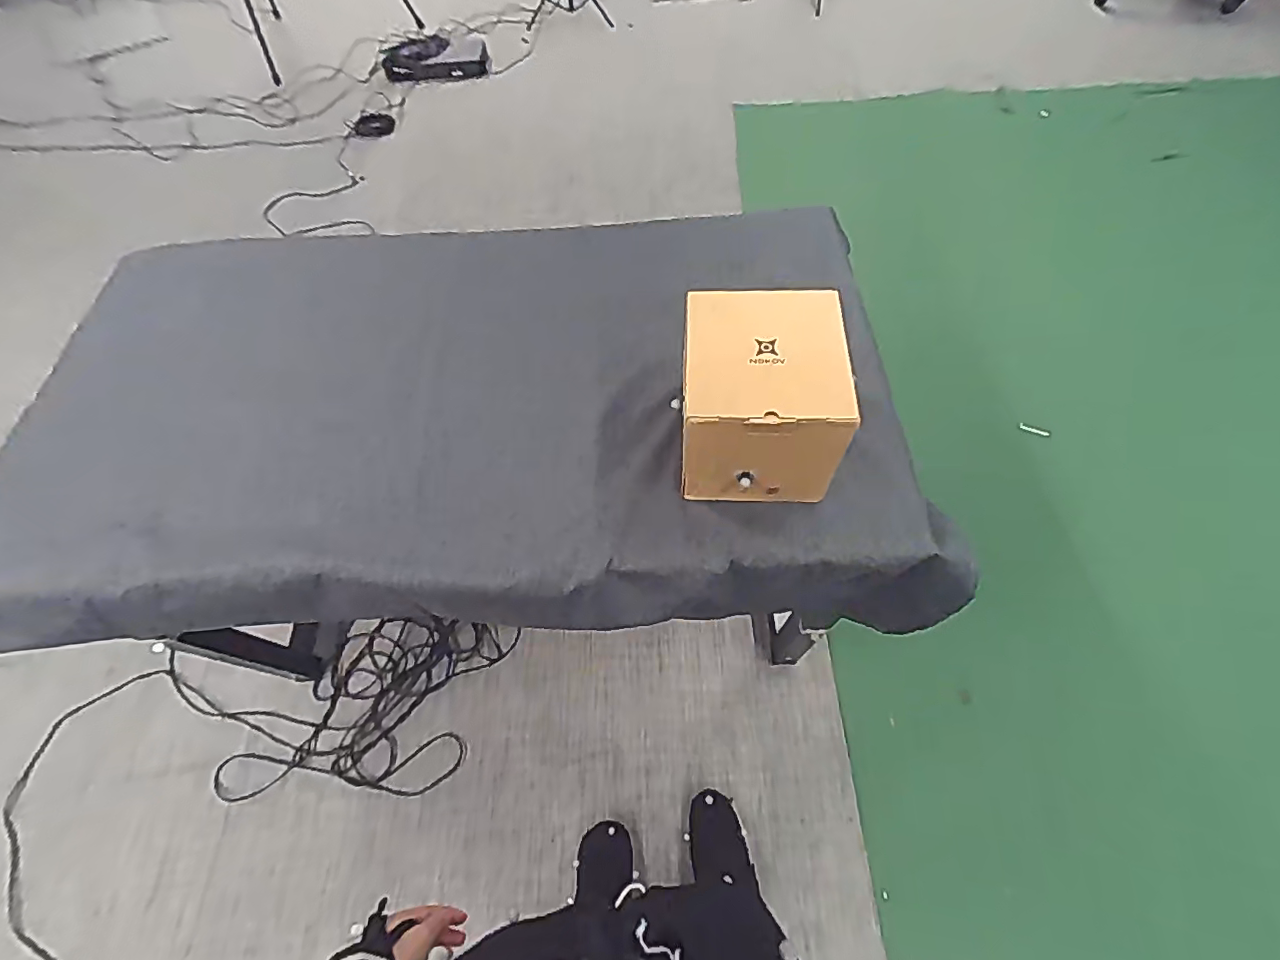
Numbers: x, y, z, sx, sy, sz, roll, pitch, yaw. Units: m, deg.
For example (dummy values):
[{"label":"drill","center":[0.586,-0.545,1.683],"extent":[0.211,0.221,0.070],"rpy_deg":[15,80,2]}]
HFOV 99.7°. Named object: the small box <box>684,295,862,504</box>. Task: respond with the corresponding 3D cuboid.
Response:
[{"label":"small box","center":[0.136,-0.089,0.624],"extent":[0.168,0.176,0.179],"rpy_deg":[1,61,4]}]
